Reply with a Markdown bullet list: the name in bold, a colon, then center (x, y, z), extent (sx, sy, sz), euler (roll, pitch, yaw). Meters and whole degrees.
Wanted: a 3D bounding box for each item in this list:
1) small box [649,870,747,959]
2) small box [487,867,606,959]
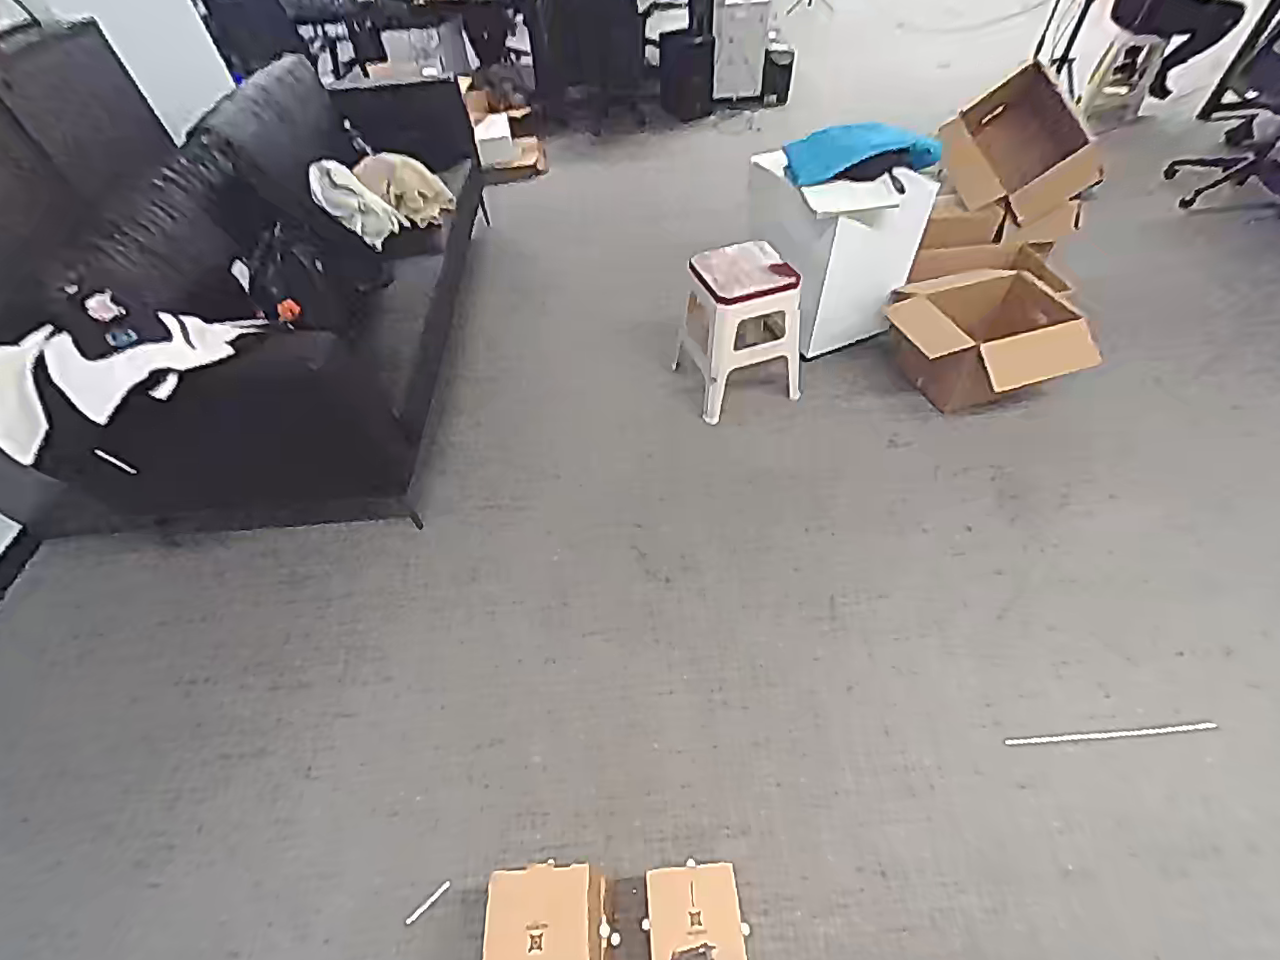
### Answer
- **small box**: center (0.107, 0.849, 1.010), extent (0.168, 0.176, 0.179), euler (-5, 48, 0)
- **small box**: center (-0.149, 0.762, 0.893), extent (0.168, 0.176, 0.179), euler (-4, 48, 1)
